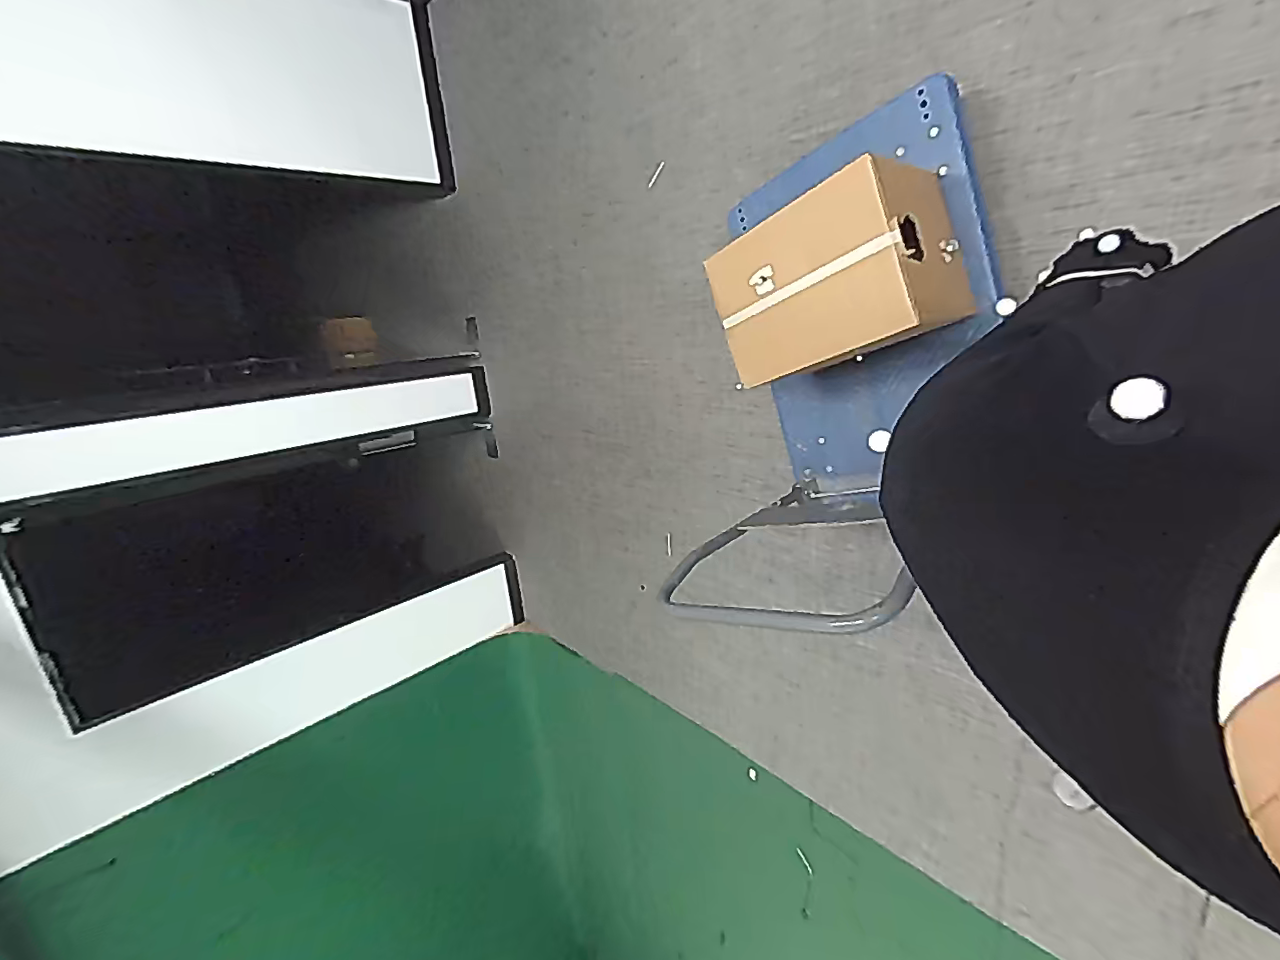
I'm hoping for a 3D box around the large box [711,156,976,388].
[{"bbox_3d":[0.436,-0.429,1.189,0.408,0.320,0.320,-15,93,51],"label":"large box"}]
